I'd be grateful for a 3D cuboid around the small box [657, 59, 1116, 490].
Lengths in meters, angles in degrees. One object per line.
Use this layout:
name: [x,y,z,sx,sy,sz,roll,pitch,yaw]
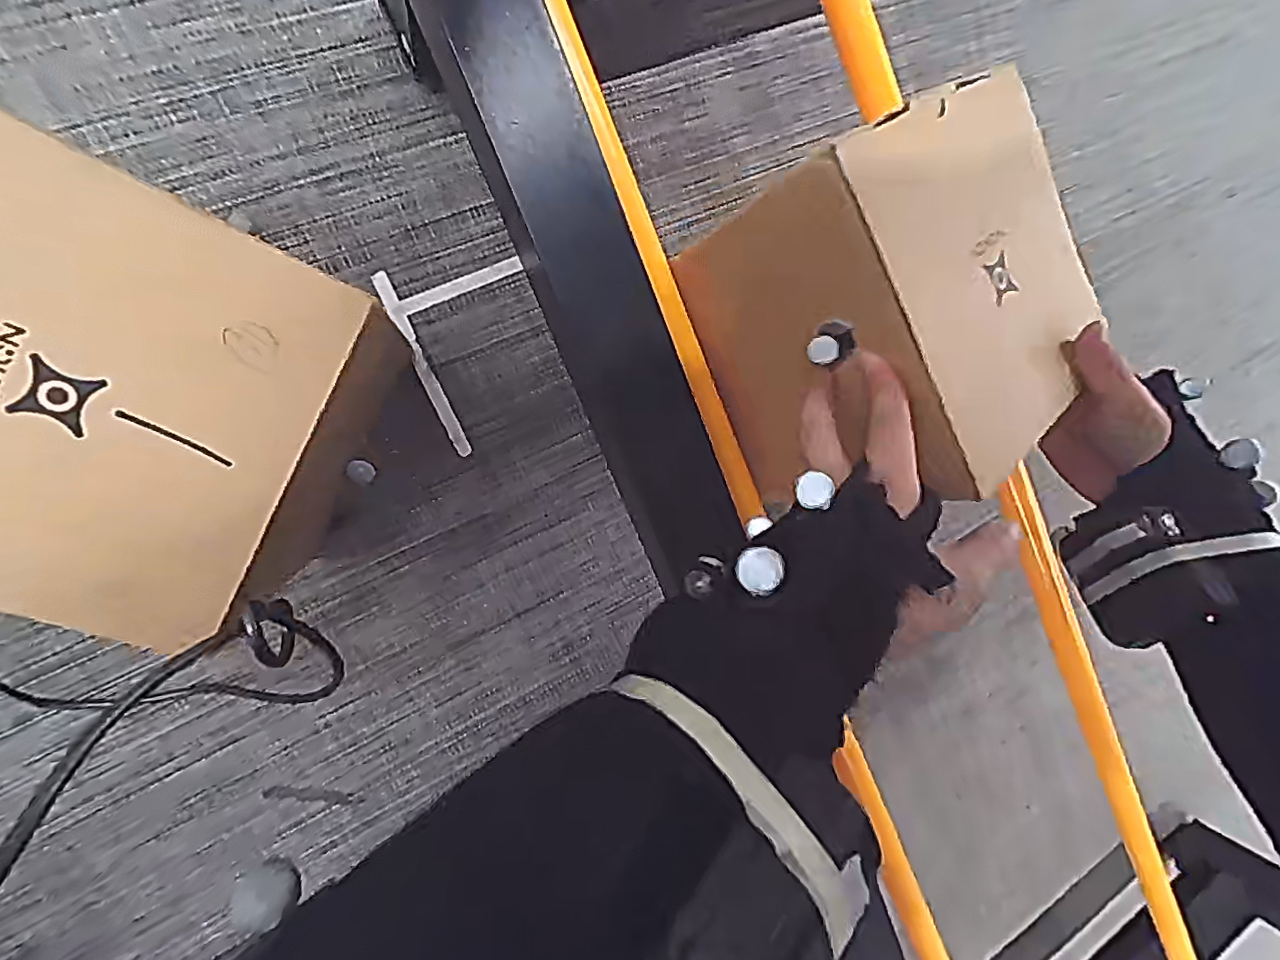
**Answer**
small box: [0.144,-0.106,0.341,0.168,0.176,0.179,-35,102,-26]
